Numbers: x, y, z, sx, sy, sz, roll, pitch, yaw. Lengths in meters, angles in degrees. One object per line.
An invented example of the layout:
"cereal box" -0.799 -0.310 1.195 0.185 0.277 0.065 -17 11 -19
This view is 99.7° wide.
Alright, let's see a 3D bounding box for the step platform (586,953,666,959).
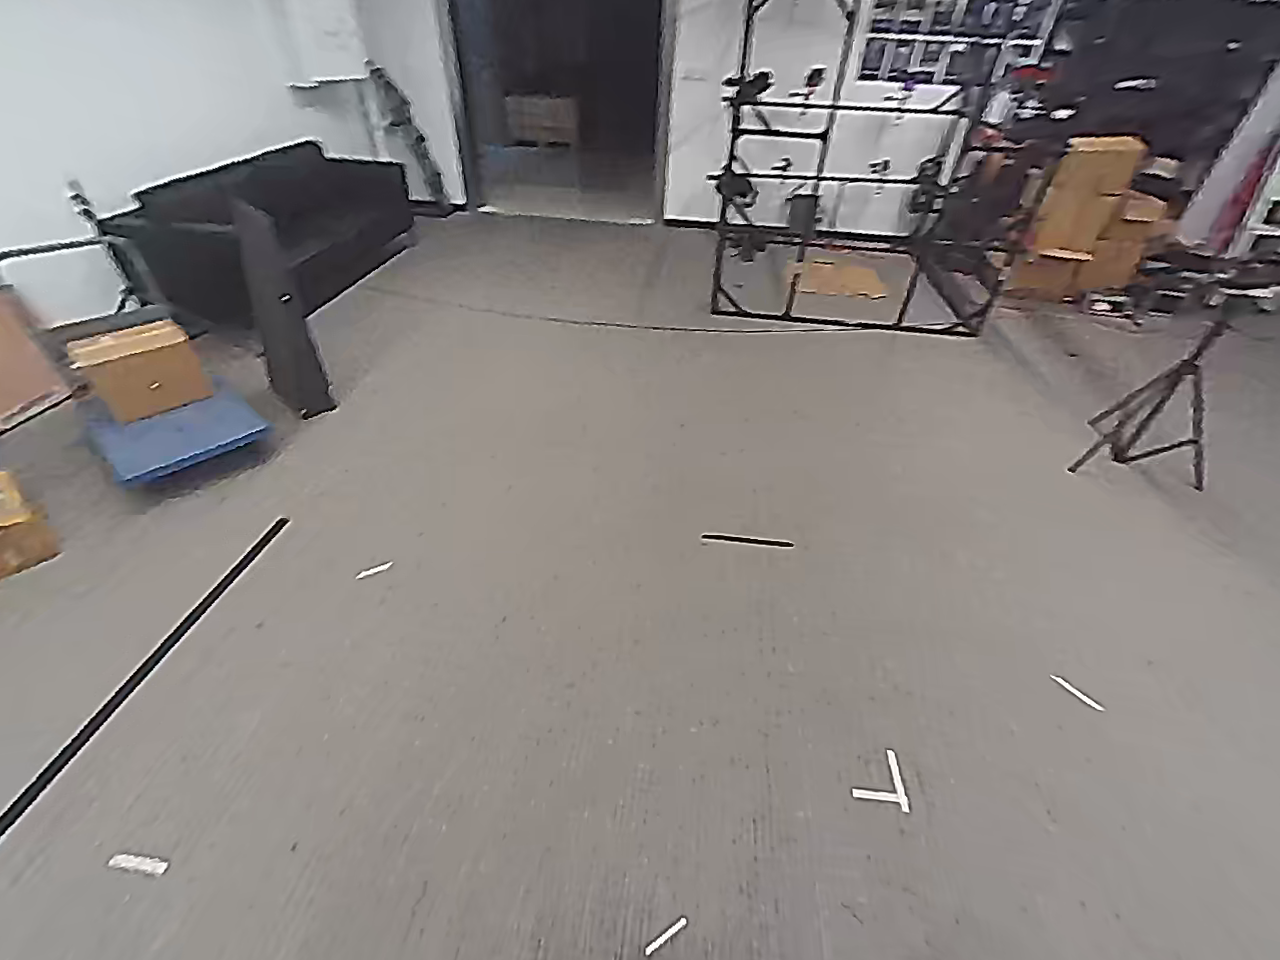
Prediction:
"step platform" -0.026 1.288 0.952 0.286 0.204 0.684 6 39 3
